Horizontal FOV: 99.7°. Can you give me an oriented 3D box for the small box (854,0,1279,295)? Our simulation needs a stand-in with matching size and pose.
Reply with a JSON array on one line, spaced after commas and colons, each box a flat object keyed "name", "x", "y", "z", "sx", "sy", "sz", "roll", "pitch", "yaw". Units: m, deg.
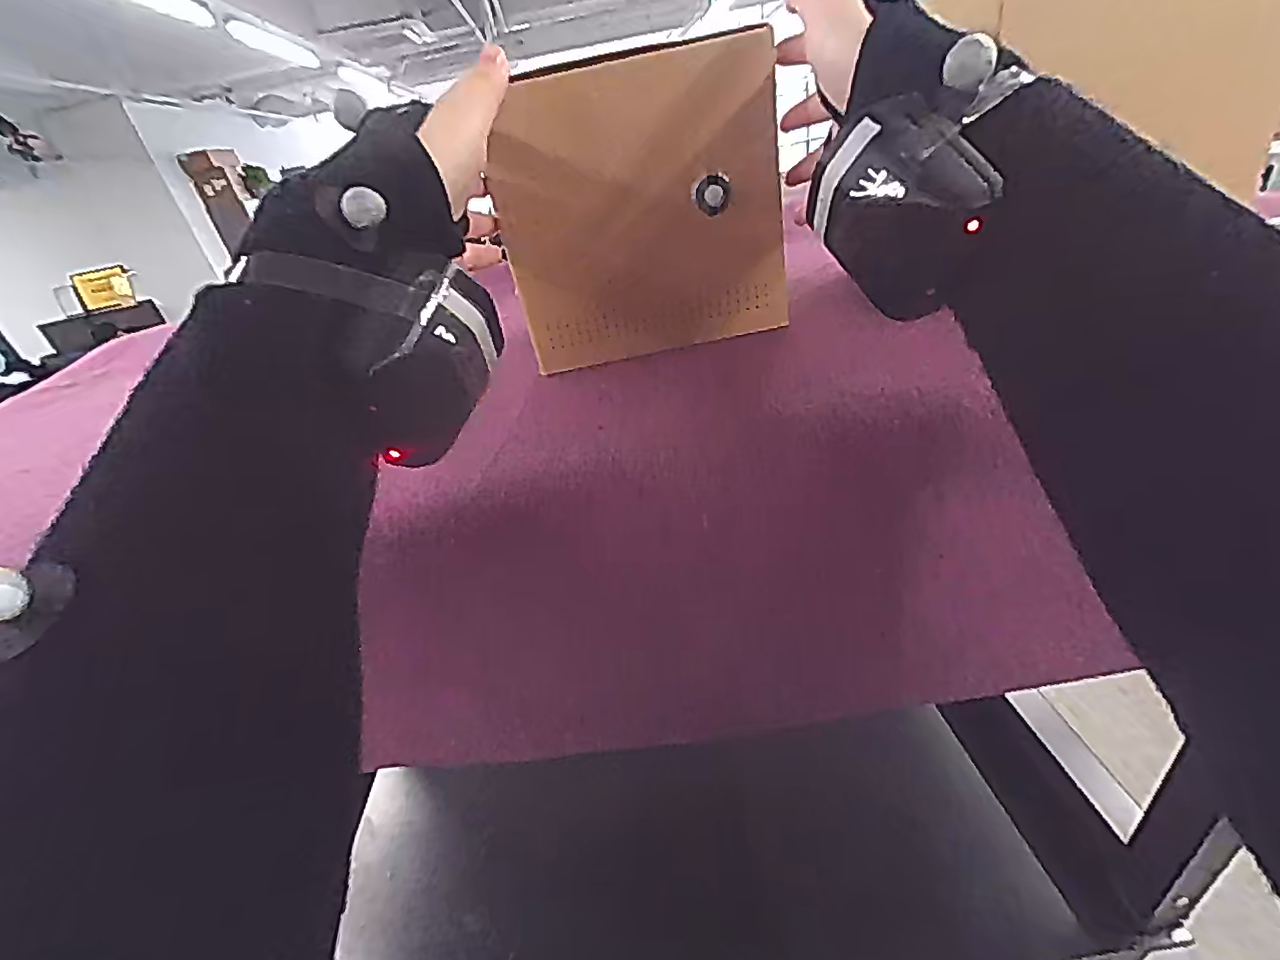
[{"name": "small box", "x": 0.260, "y": -0.237, "z": 0.360, "sx": 0.179, "sy": 0.176, "sz": 0.168, "roll": -12, "pitch": 29, "yaw": 0}]

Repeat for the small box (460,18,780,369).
[{"name": "small box", "x": -0.004, "y": -0.198, "z": 0.397, "sx": 0.179, "sy": 0.176, "sz": 0.168, "roll": -12, "pitch": 30, "yaw": 2}]
